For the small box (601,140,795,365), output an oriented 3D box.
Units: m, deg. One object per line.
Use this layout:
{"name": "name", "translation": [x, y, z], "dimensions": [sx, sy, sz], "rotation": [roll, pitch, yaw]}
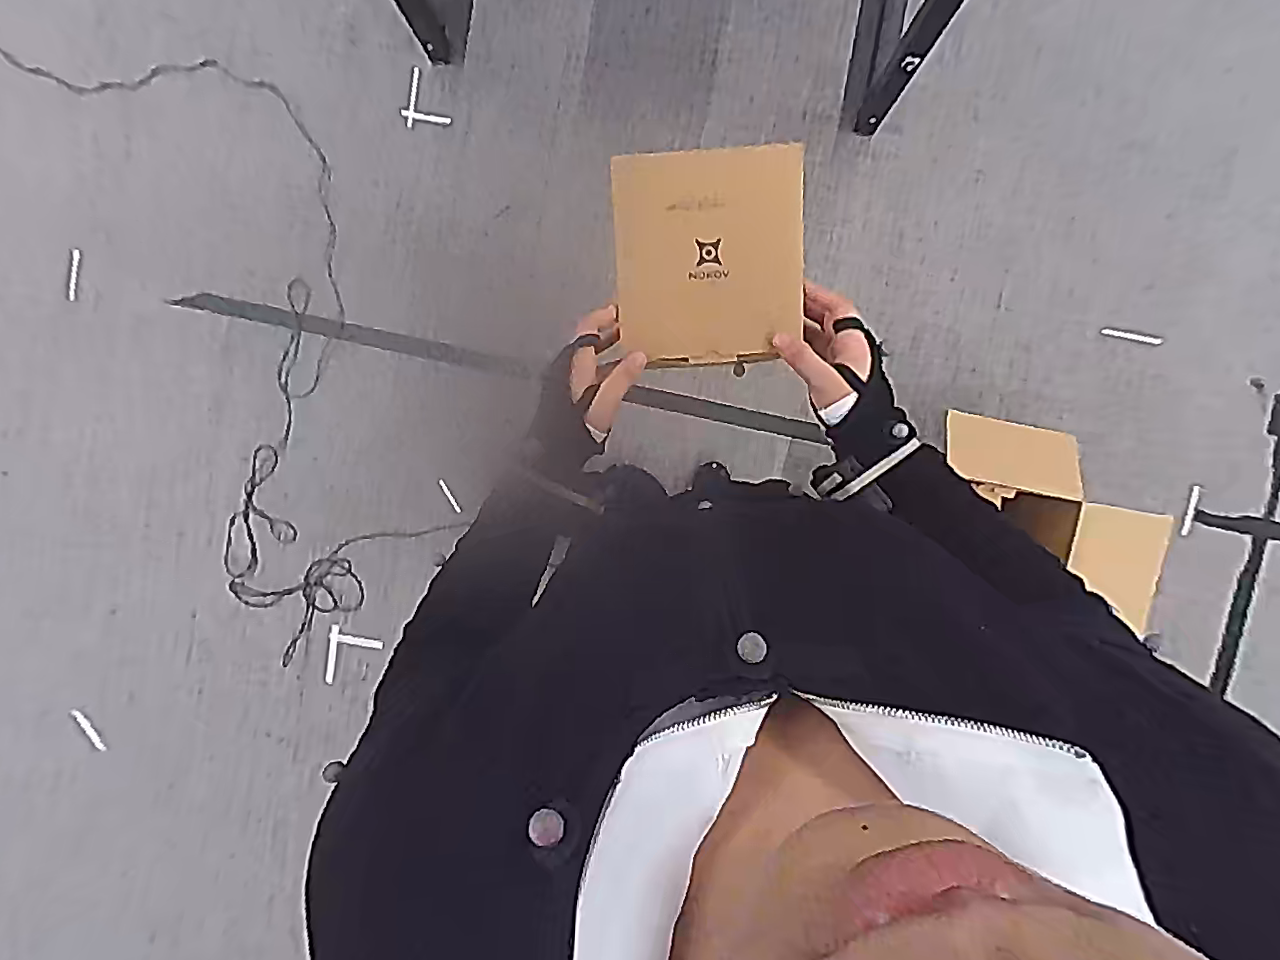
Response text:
{"name": "small box", "translation": [0.054, -0.210, 0.549], "dimensions": [0.168, 0.176, 0.179], "rotation": [-4, 99, 1]}
